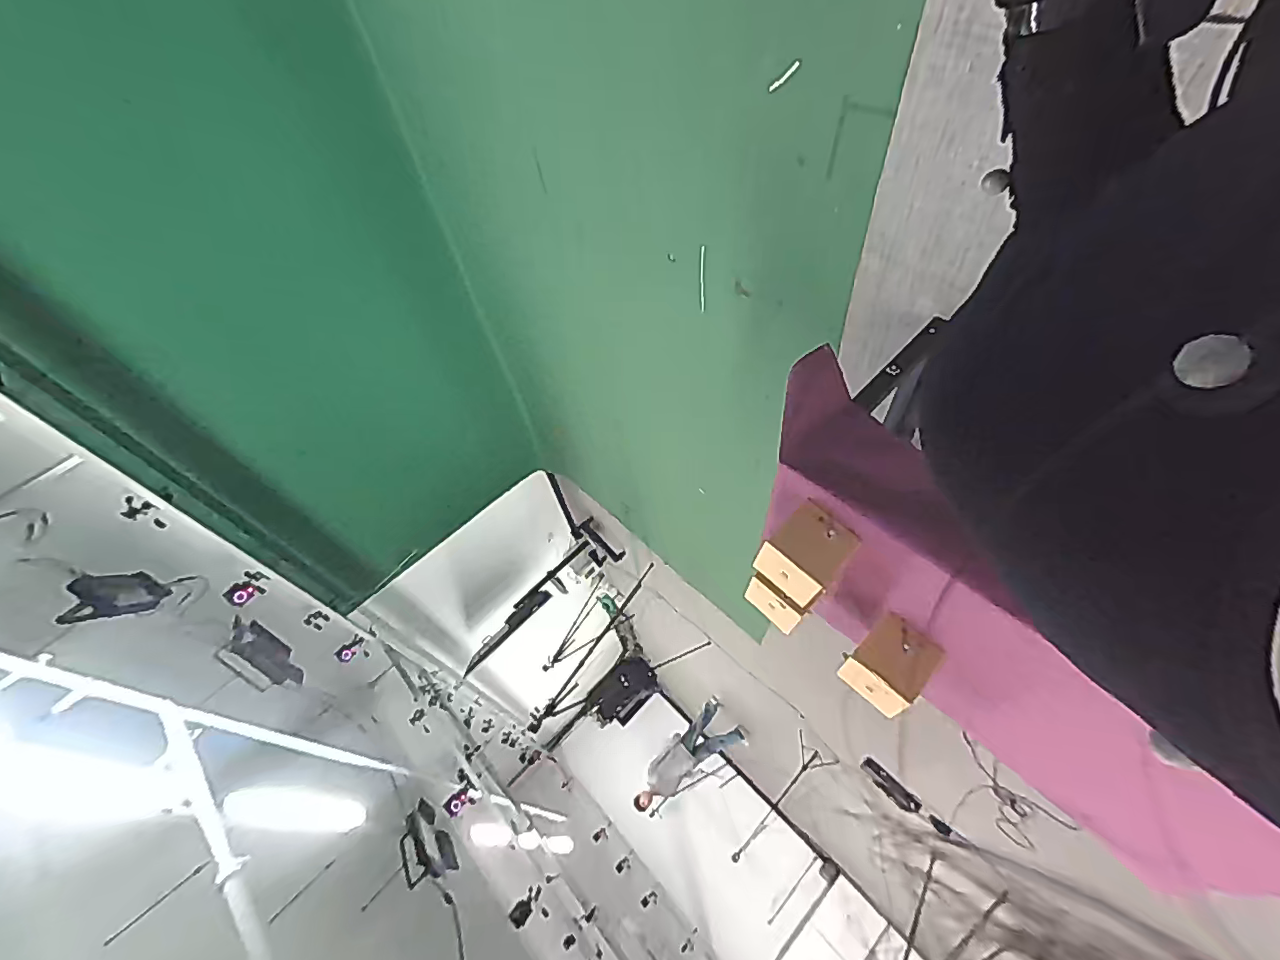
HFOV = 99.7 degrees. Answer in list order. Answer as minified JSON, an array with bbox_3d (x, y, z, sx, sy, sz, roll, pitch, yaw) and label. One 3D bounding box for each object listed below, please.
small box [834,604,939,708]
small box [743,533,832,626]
[{"bbox_3d":[0.642,0.458,1.410,0.168,0.176,0.179,38,157,25],"label":"small box"},{"bbox_3d":[0.420,0.284,1.545,0.168,0.176,0.179,40,159,21],"label":"small box"}]
